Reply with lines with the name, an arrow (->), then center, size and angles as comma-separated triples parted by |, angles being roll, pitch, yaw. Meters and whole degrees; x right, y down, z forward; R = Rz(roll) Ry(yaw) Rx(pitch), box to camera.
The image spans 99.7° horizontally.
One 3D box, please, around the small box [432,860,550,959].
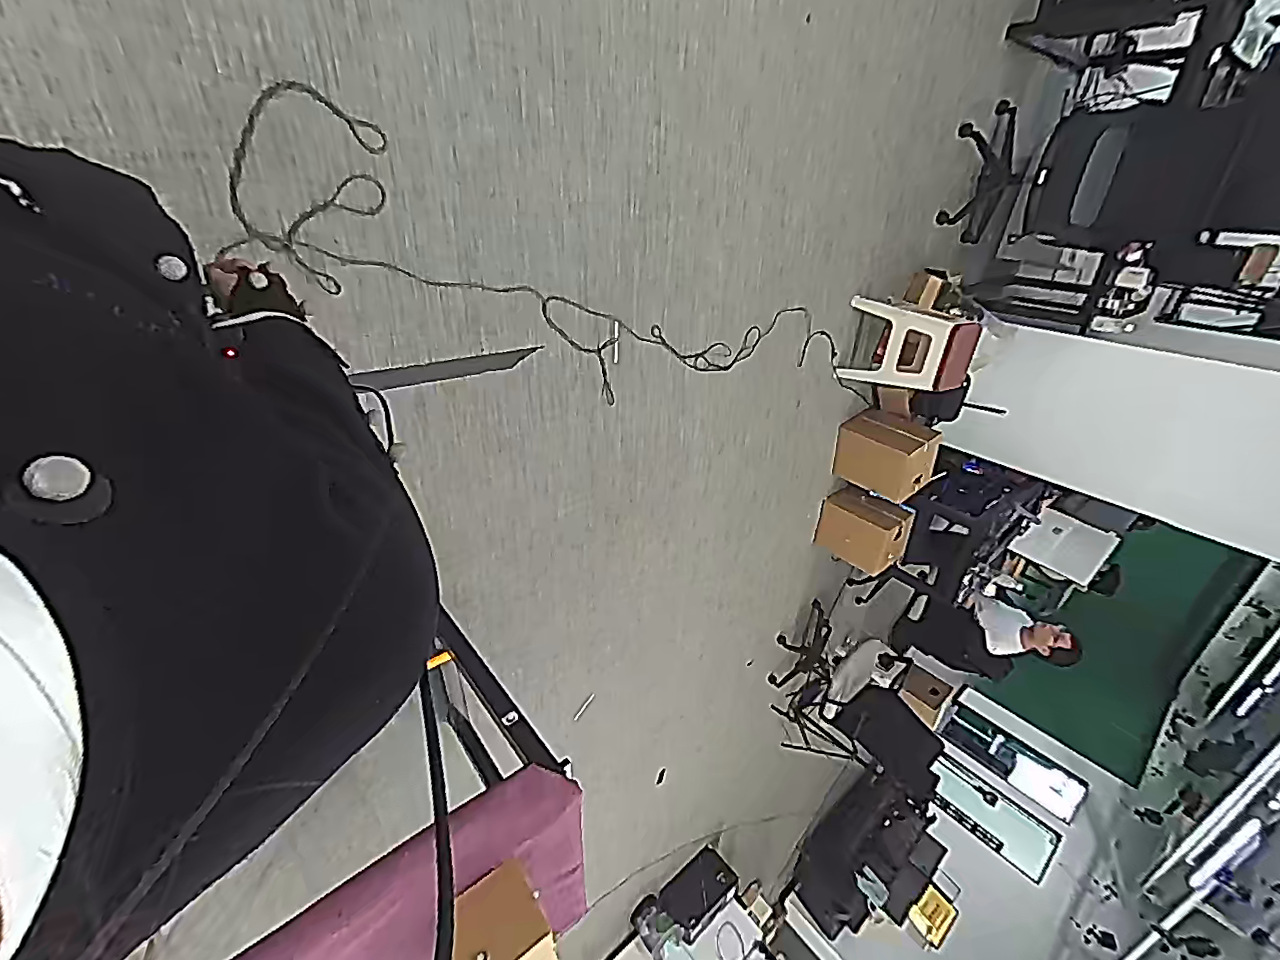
small box -> -0.301, 0.926, 1.086 | 0.179, 0.176, 0.168 | -21, 127, -32
